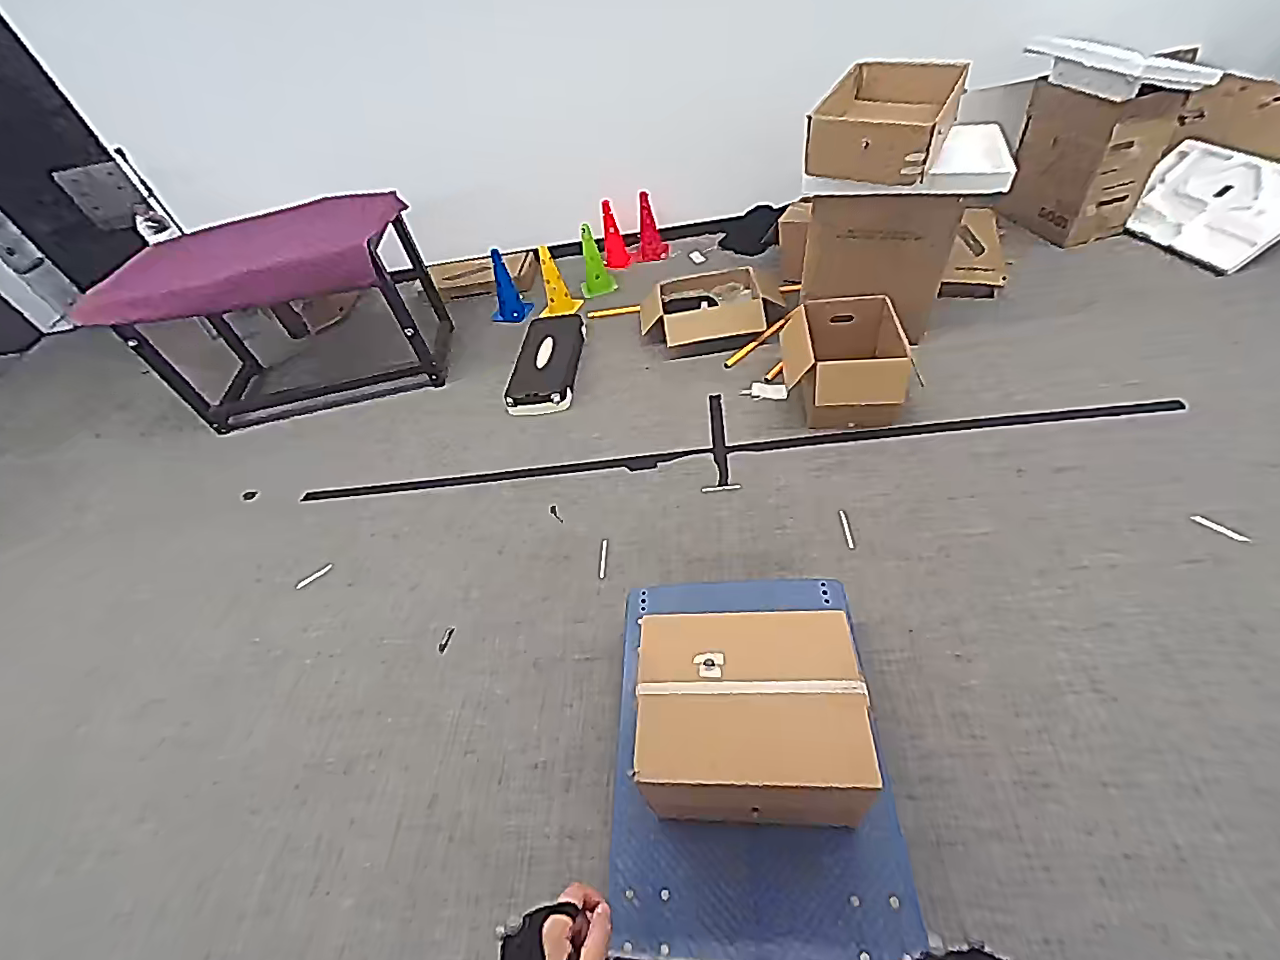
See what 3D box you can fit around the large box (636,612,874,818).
[{"bbox_3d":[0.221,0.493,1.115,0.408,0.320,0.320,-5,46,9],"label":"large box"}]
